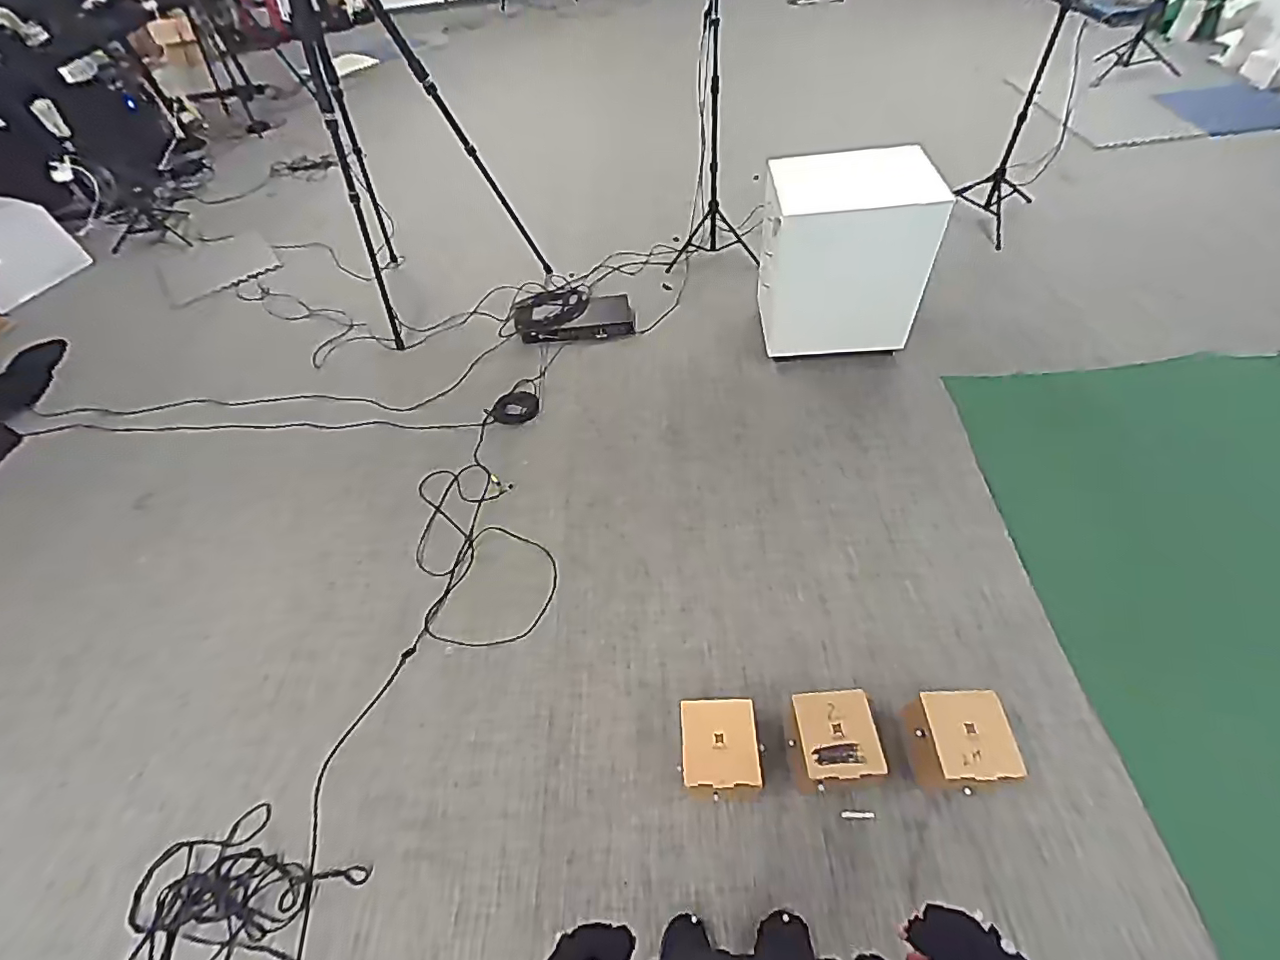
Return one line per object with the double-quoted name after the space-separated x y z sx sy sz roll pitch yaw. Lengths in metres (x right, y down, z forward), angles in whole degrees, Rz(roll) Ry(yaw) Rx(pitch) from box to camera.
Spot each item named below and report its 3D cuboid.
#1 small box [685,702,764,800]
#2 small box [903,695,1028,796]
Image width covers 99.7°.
0.191 0.634 1.261 0.168 0.176 0.179 -4 52 6 "small box"
0.718 0.600 1.219 0.168 0.176 0.179 -4 52 5 "small box"
